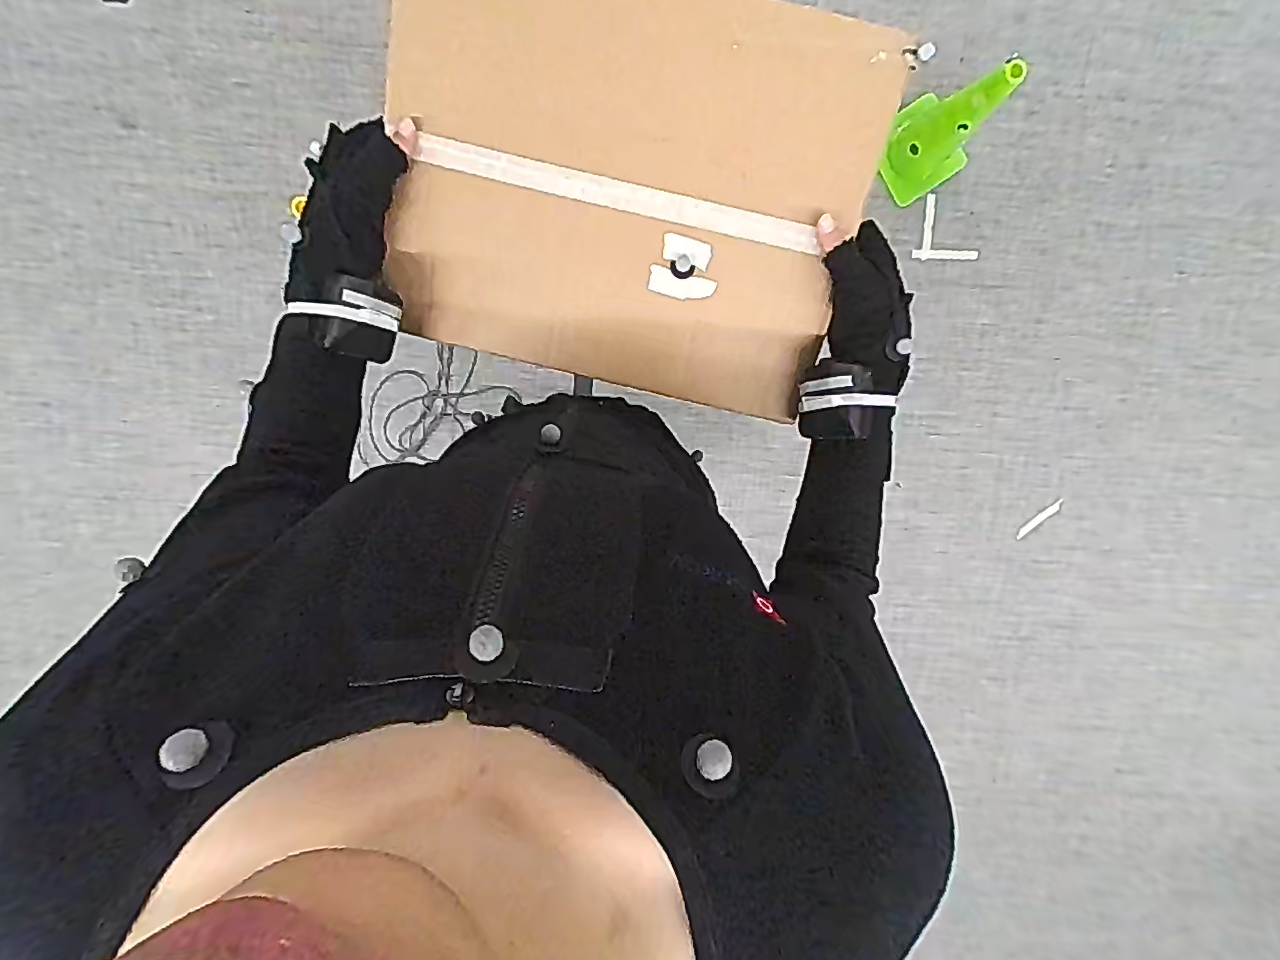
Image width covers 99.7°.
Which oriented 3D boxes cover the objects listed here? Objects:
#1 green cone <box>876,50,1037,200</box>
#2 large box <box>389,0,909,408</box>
[{"bbox_3d":[0.700,-0.797,1.171,0.202,0.368,0.200,-34,101,3],"label":"green cone"},{"bbox_3d":[-0.008,-0.294,0.605,0.408,0.320,0.320,13,109,-2],"label":"large box"}]
